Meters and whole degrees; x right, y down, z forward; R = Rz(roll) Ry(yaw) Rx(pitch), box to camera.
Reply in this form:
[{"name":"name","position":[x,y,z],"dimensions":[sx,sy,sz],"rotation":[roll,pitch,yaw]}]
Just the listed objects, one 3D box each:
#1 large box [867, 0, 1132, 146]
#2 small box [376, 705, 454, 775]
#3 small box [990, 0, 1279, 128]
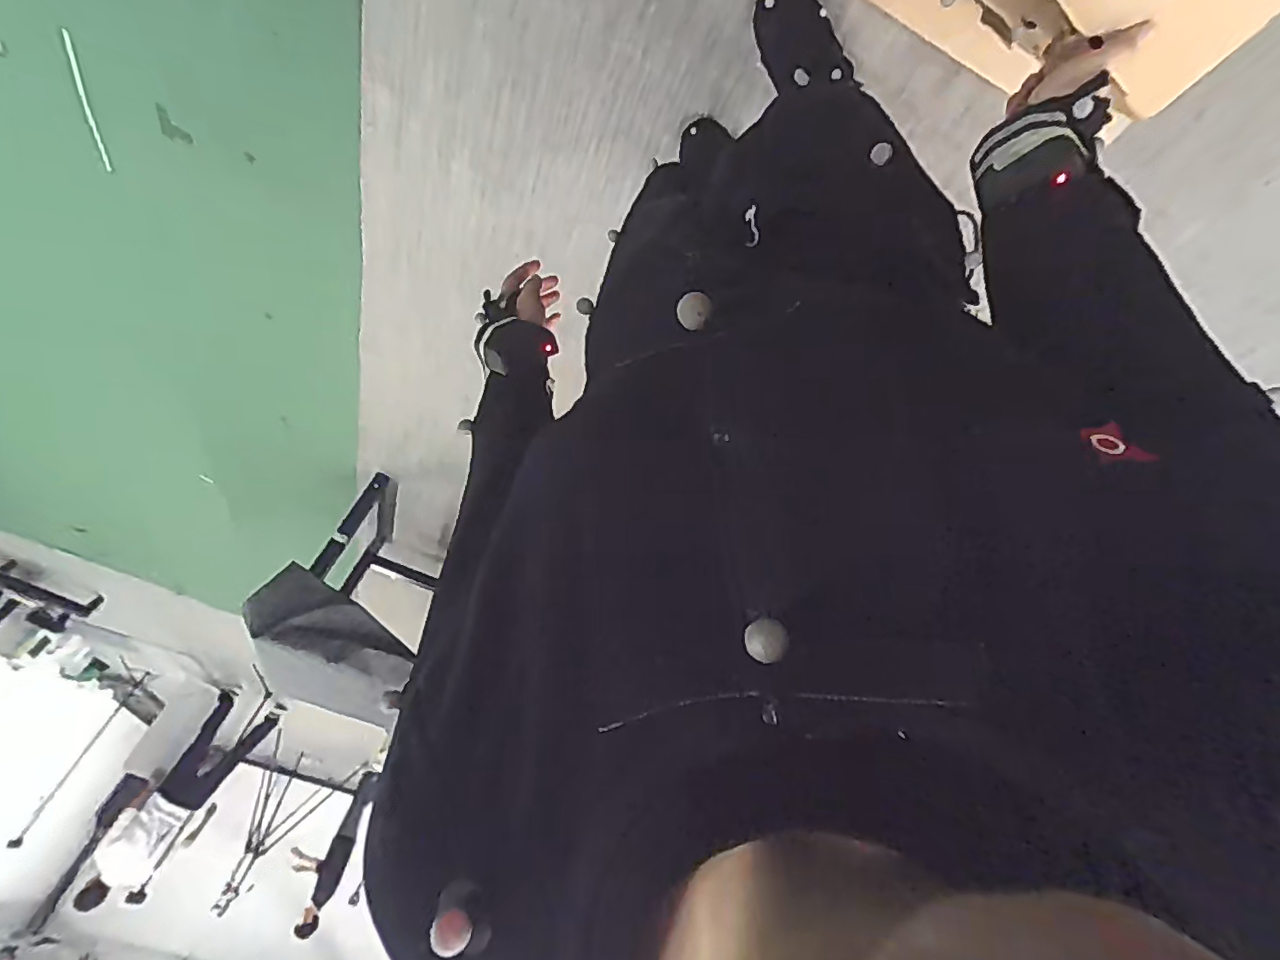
[{"name":"large box","position":[0.538,-0.720,0.691],"dimensions":[0.408,0.320,0.320],"rotation":[23,139,-10]},{"name":"small box","position":[-0.768,0.885,1.850],"dimensions":[0.179,0.176,0.168],"rotation":[29,138,-16]},{"name":"small box","position":[0.412,-0.431,0.424],"dimensions":[0.168,0.176,0.179],"rotation":[31,133,-18]}]
